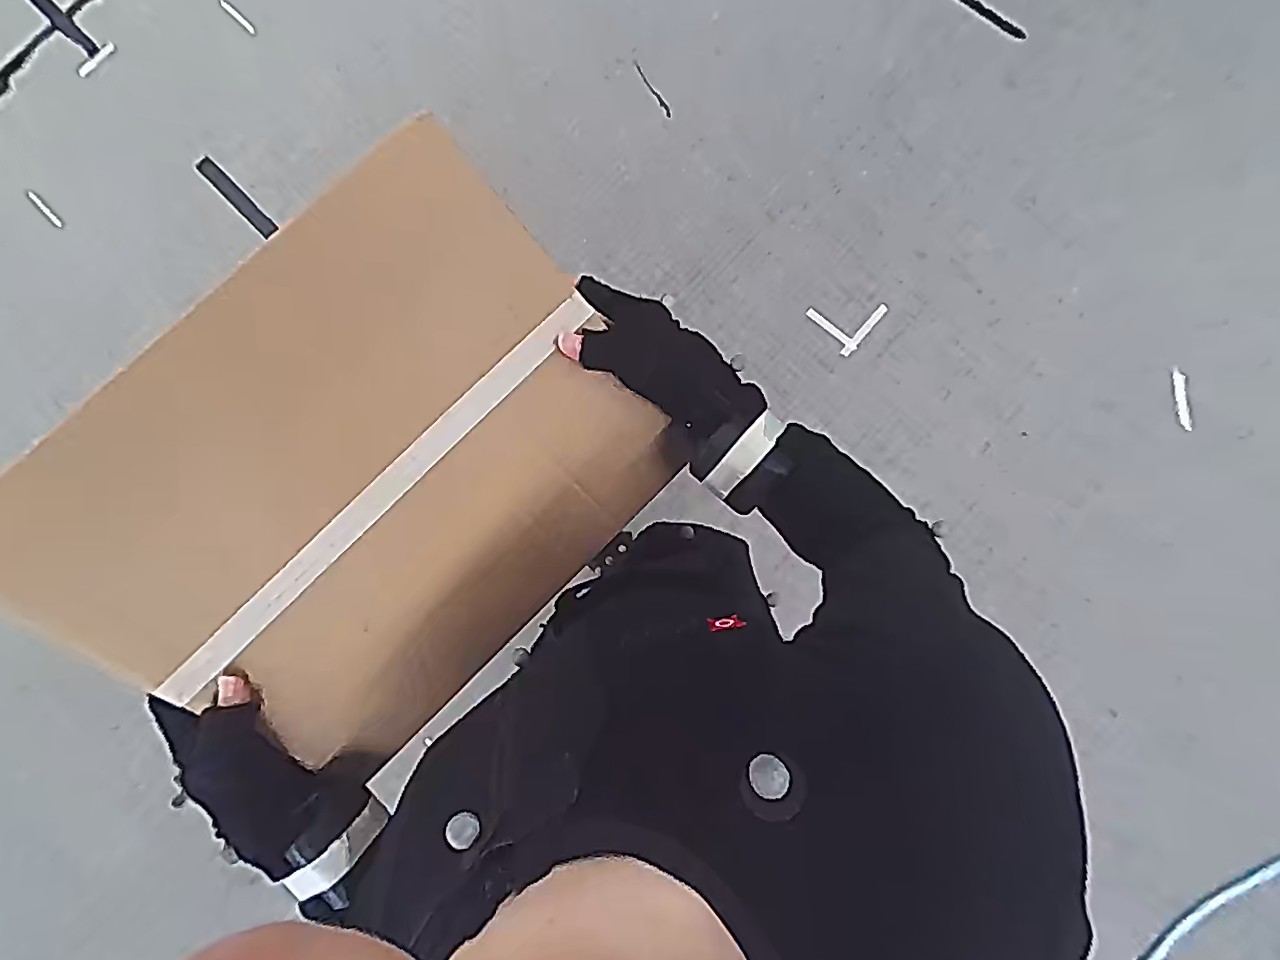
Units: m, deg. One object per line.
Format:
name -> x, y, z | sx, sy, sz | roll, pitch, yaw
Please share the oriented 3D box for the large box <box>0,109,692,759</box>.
large box -> -0.234, -0.040, 0.537 | 0.408, 0.320, 0.320 | -45, 116, -4
